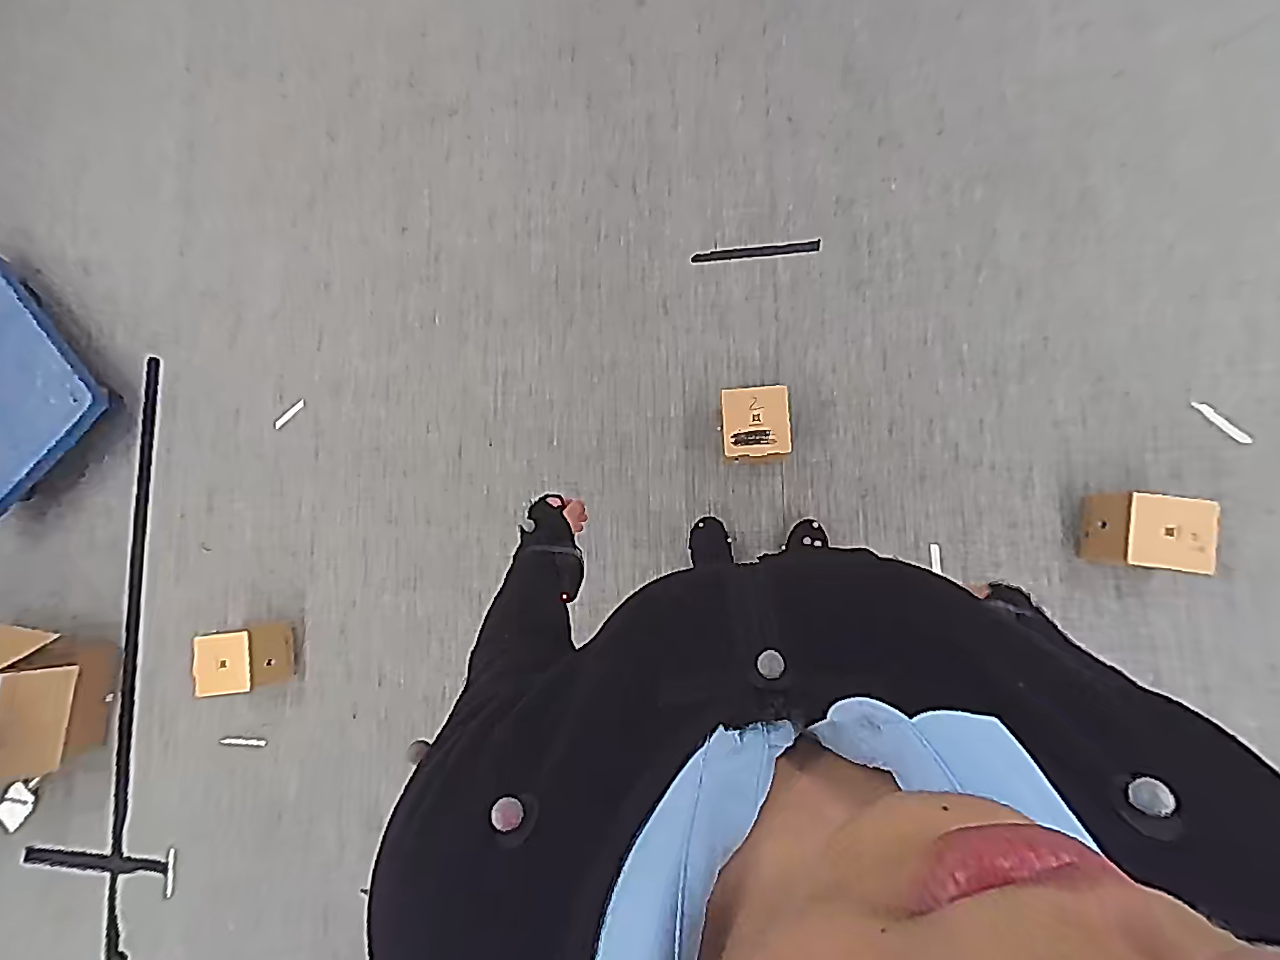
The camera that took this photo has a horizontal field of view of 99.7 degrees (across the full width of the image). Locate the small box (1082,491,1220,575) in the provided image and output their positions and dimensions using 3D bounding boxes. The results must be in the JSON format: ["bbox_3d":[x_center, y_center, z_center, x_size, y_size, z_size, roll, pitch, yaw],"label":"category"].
[{"bbox_3d":[1.200,0.125,1.284,0.179,0.176,0.168,8,87,8],"label":"small box"}]

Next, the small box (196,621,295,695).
[{"bbox_3d":[-1.144,0.516,1.582,0.179,0.176,0.168,-8,84,8],"label":"small box"}]
